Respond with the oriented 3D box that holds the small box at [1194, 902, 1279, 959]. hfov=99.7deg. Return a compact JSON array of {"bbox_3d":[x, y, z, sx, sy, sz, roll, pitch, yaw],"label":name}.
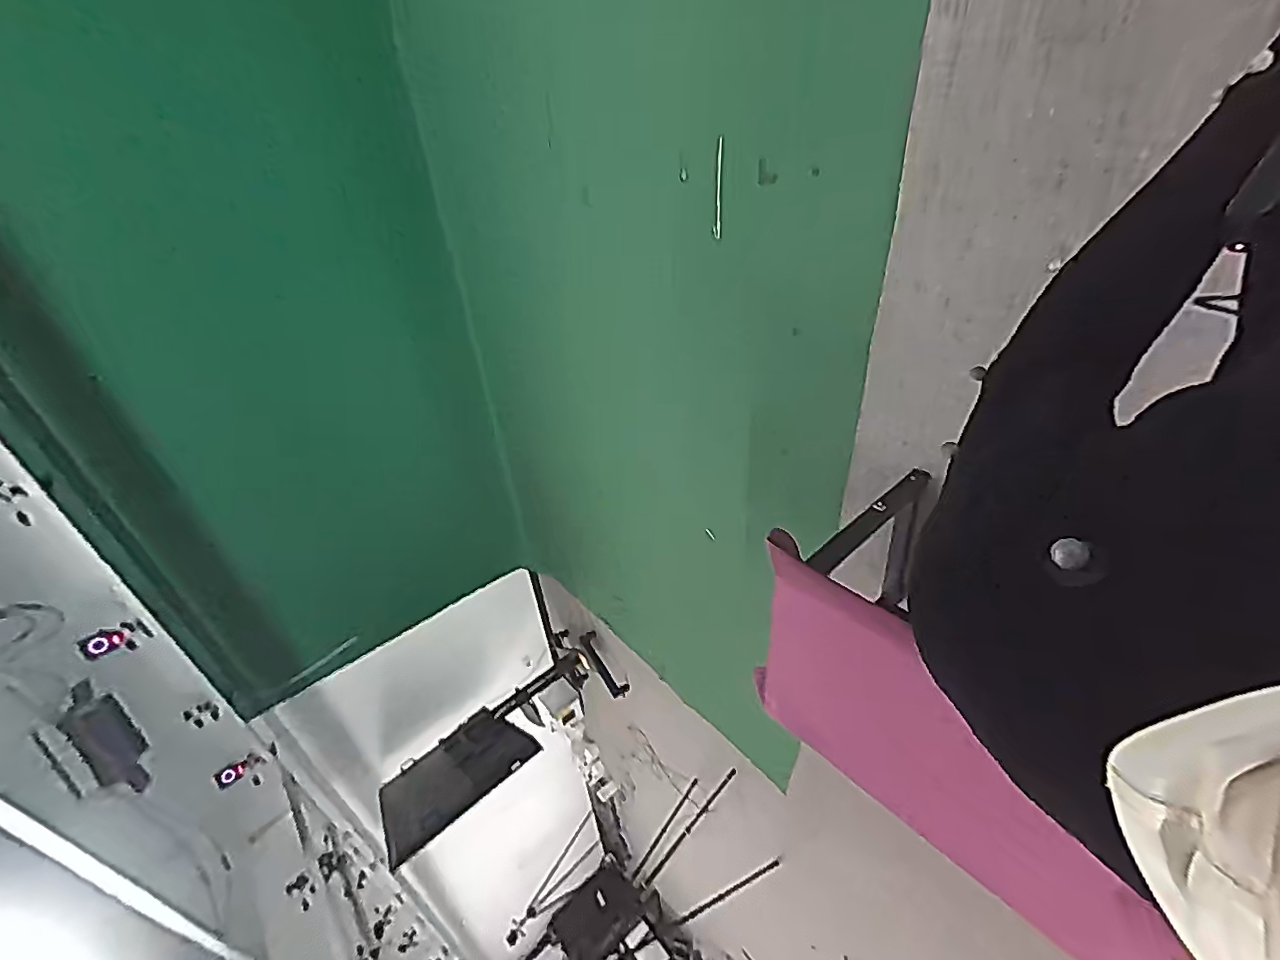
[{"bbox_3d":[0.964,0.798,0.810,0.168,0.176,0.179,28,136,42],"label":"small box"}]
